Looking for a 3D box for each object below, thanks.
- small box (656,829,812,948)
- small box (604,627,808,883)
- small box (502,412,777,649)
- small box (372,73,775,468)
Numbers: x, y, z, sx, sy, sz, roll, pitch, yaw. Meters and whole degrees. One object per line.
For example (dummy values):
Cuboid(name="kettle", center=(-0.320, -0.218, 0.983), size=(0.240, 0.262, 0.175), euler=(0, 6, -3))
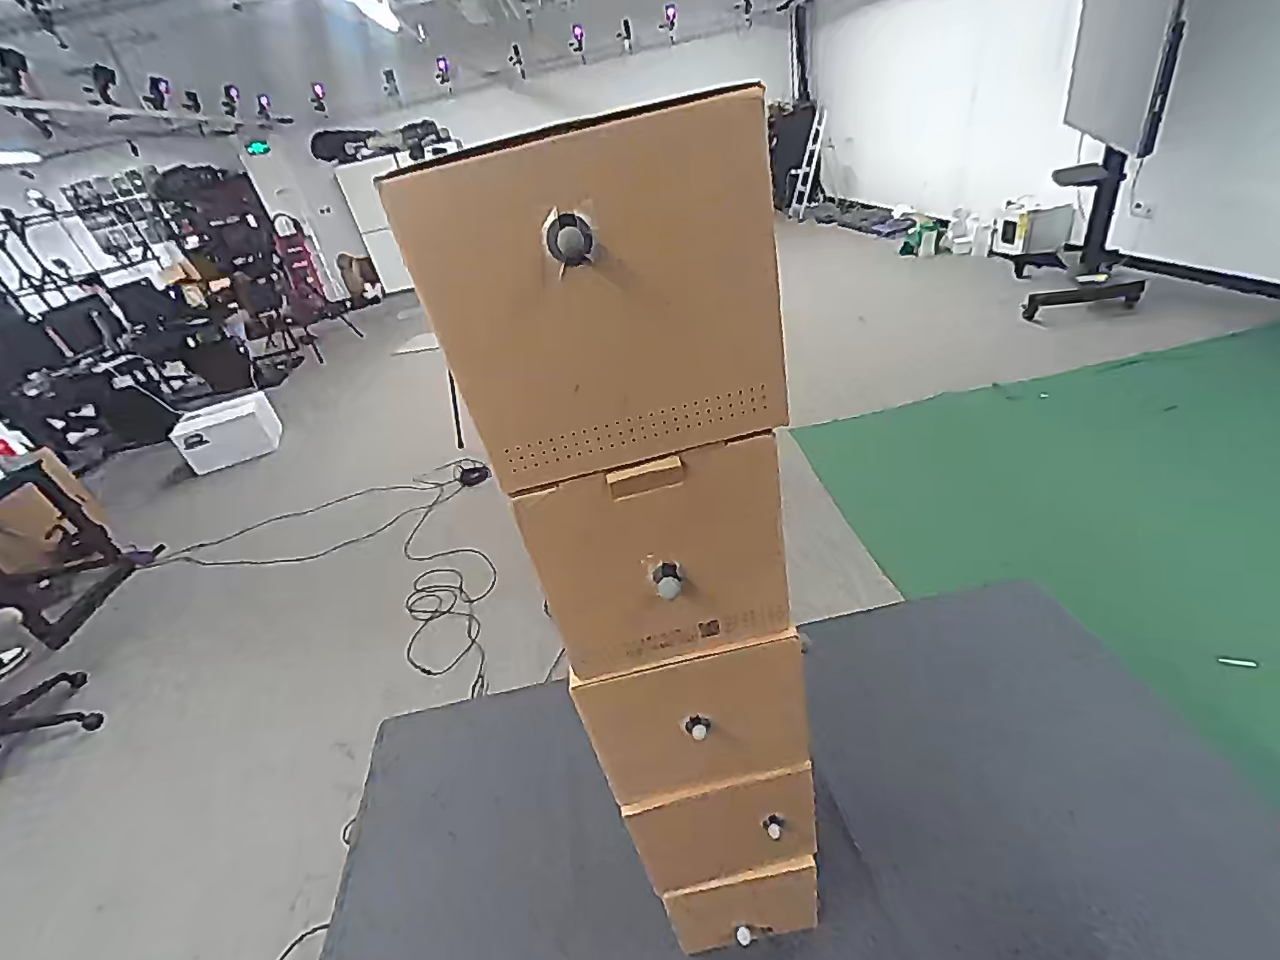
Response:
Cuboid(name="small box", center=(0.103, 0.429, 0.669), size=(0.168, 0.176, 0.179), euler=(-13, 33, 1))
Cuboid(name="small box", center=(0.068, 0.293, 0.586), size=(0.179, 0.176, 0.168), euler=(-14, 31, -1))
Cuboid(name="small box", center=(0.002, 0.012, 0.433), size=(0.168, 0.176, 0.179), euler=(-13, 31, -1))
Cuboid(name="small box", center=(-0.027, -0.126, 0.344), size=(0.179, 0.176, 0.168), euler=(-13, 31, 0))
